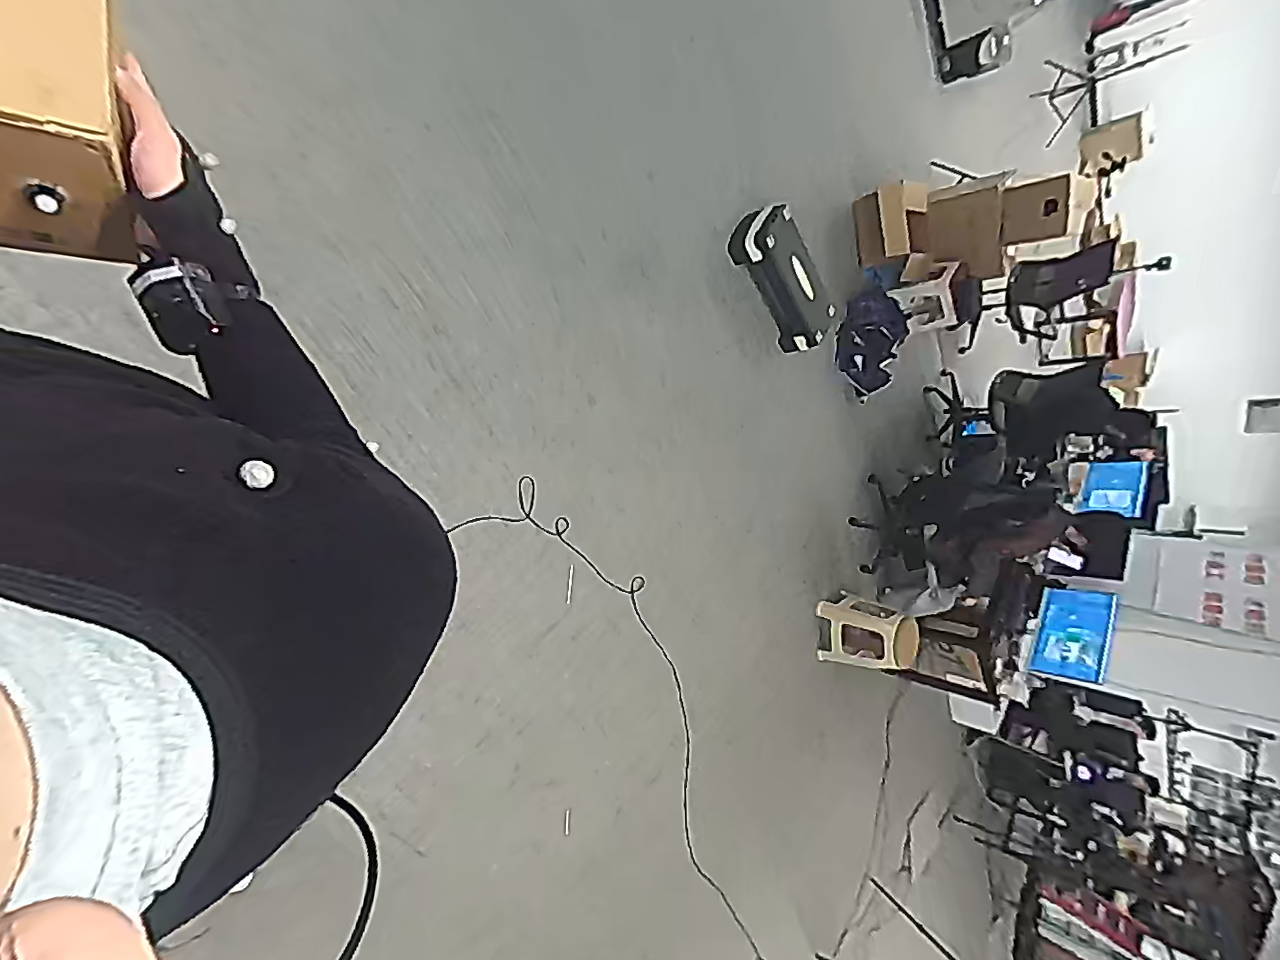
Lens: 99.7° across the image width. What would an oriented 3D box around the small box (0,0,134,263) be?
[{"bbox_3d":[-0.497,-0.291,0.400,0.168,0.176,0.179,-4,77,-40],"label":"small box"}]
